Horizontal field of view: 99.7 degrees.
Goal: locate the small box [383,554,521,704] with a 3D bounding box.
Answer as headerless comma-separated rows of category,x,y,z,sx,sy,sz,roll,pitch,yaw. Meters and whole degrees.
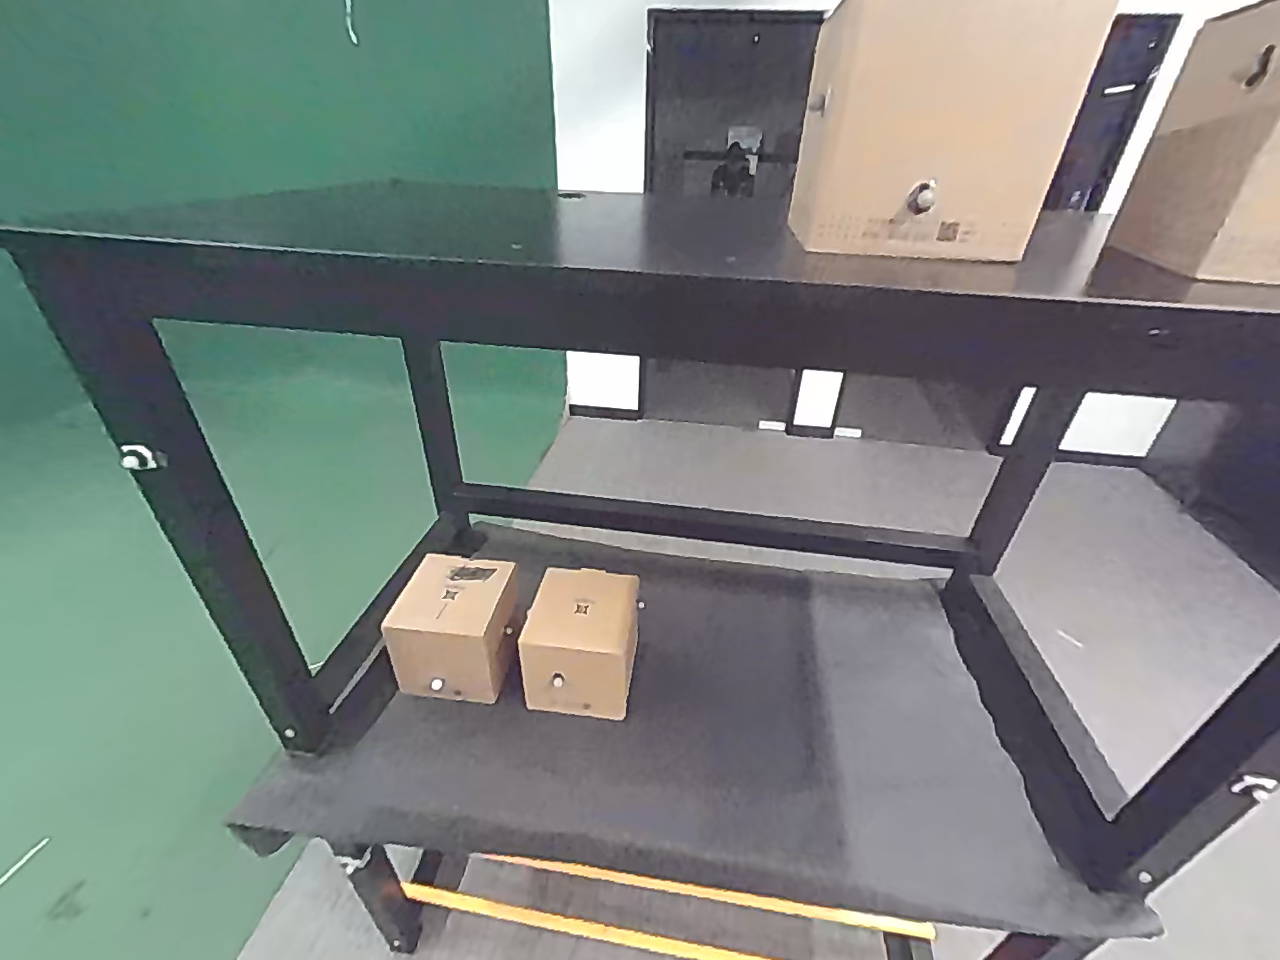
small box,-0.312,0.255,0.939,0.168,0.176,0.179,4,32,5

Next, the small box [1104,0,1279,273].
small box,0.487,-0.243,0.384,0.168,0.176,0.179,11,33,15
